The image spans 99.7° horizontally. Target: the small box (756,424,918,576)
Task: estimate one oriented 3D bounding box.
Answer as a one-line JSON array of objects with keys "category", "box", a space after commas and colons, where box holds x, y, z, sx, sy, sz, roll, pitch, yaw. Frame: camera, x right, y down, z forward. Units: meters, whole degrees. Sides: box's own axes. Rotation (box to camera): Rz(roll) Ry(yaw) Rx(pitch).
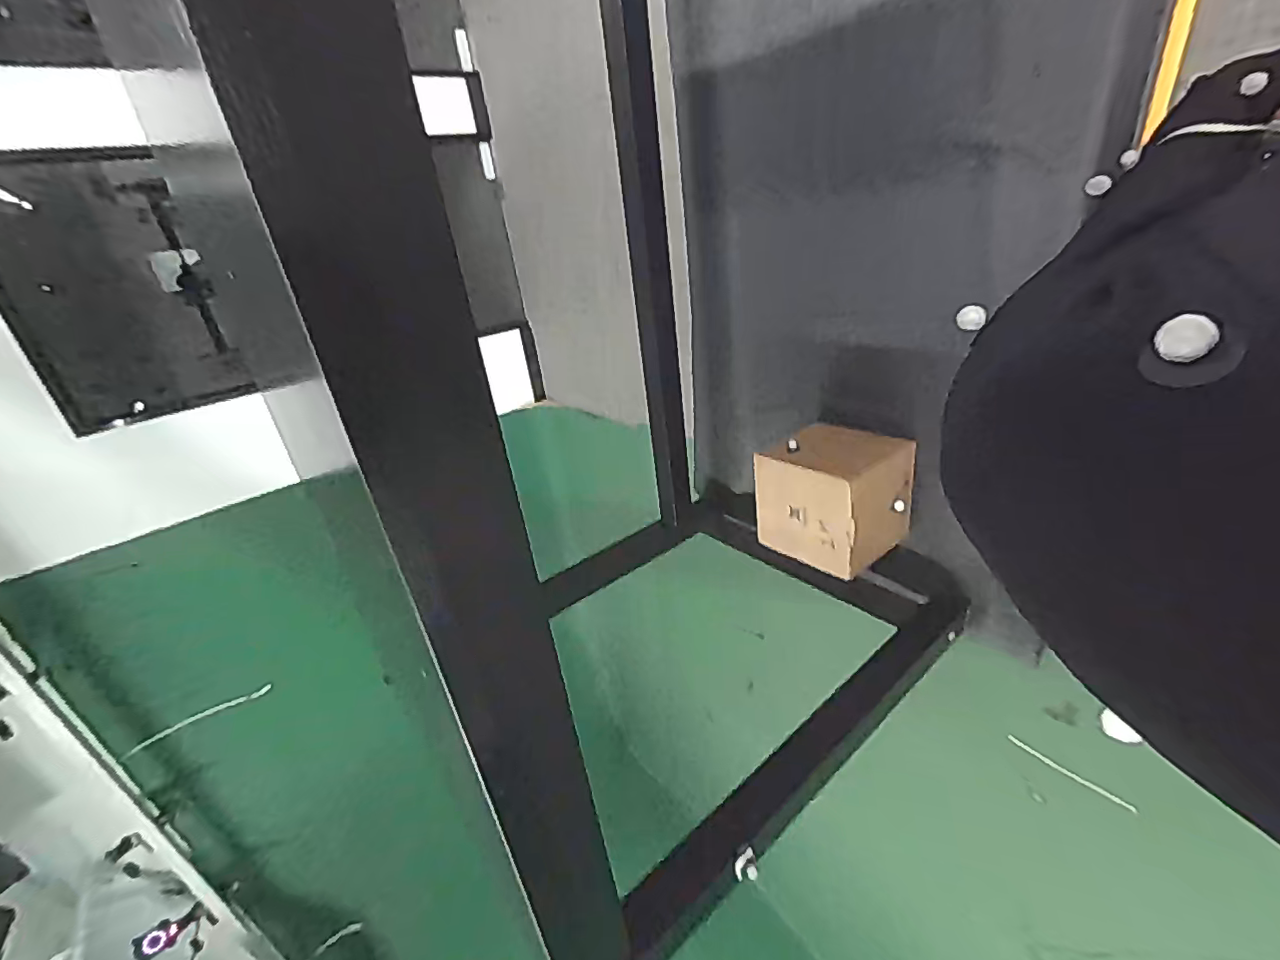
[{"category": "small box", "box": [0.309, 0.019, 0.861, 0.179, 0.176, 0.168, 22, 129, 49]}]
